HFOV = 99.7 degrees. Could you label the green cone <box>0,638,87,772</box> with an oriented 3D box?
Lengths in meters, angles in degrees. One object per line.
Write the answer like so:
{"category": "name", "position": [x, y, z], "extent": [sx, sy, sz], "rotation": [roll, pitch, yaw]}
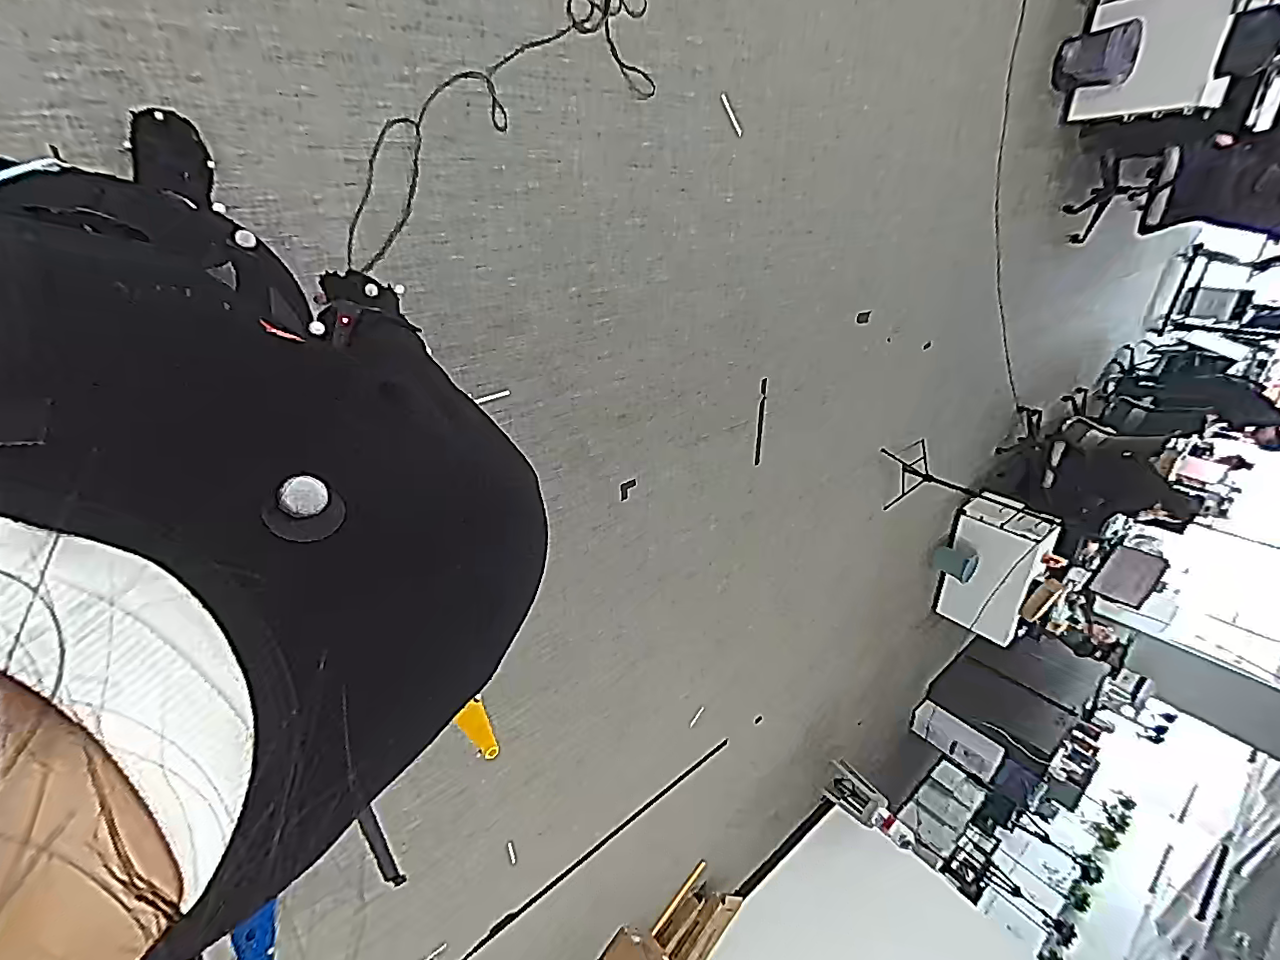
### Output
{"category": "green cone", "position": [-1.189, 0.489, 0.973], "extent": [0.202, 0.368, 0.200], "rotation": [-20, 122, -31]}

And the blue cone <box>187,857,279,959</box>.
{"category": "blue cone", "position": [-1.080, 1.260, 1.461], "extent": [0.192, 0.380, 0.193], "rotation": [-17, 120, -33]}
